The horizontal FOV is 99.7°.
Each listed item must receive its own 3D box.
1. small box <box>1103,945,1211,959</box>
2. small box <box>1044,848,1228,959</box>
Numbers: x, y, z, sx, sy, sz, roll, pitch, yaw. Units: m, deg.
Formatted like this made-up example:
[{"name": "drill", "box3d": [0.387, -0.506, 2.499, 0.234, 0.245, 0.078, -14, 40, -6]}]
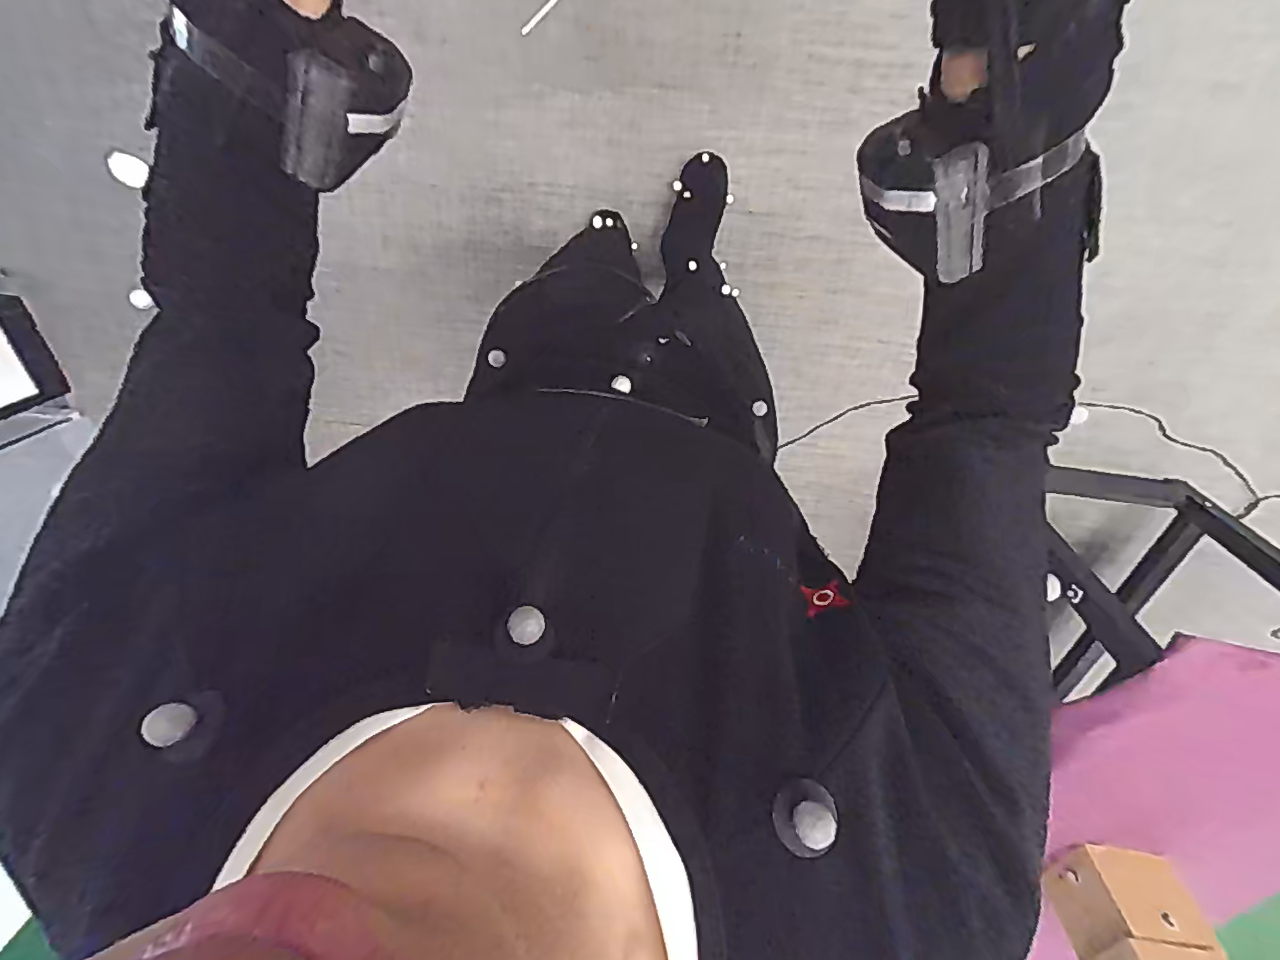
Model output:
[{"name": "small box", "box3d": [0.945, 0.953, 0.944, 0.179, 0.176, 0.168, 10, 121, 1]}, {"name": "small box", "box3d": [0.976, 0.876, 1.085, 0.179, 0.176, 0.168, 11, 121, 0]}]
